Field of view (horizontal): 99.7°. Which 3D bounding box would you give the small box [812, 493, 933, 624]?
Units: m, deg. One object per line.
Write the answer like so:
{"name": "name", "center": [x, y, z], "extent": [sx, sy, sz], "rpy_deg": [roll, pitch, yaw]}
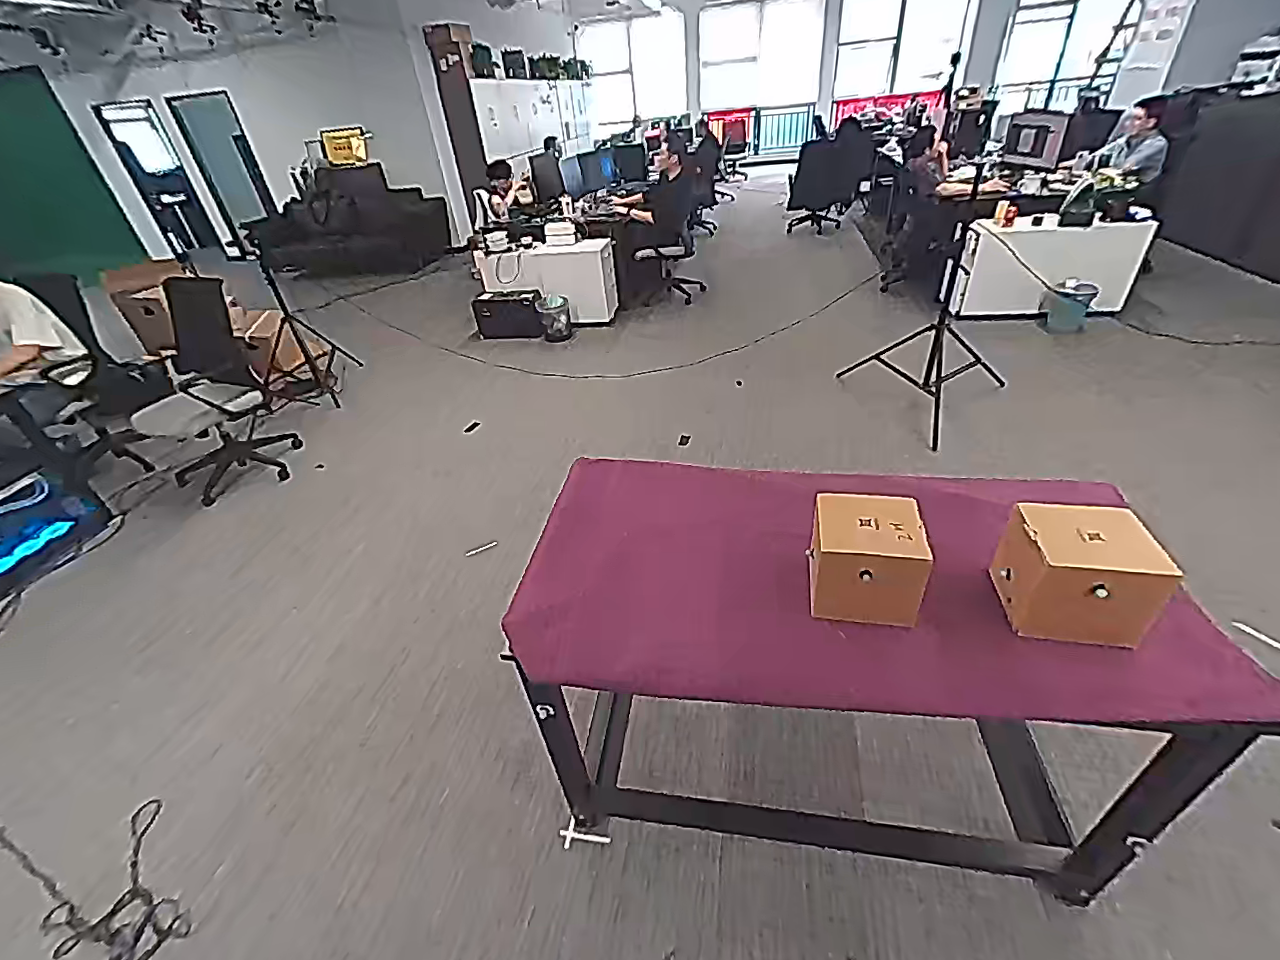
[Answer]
{"name": "small box", "center": [0.410, 0.142, 0.988], "extent": [0.179, 0.176, 0.168], "rpy_deg": [3, 37, 13]}

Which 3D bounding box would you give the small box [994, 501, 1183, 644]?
{"name": "small box", "center": [0.739, 0.156, 0.917], "extent": [0.179, 0.176, 0.168], "rpy_deg": [3, 35, 14]}
